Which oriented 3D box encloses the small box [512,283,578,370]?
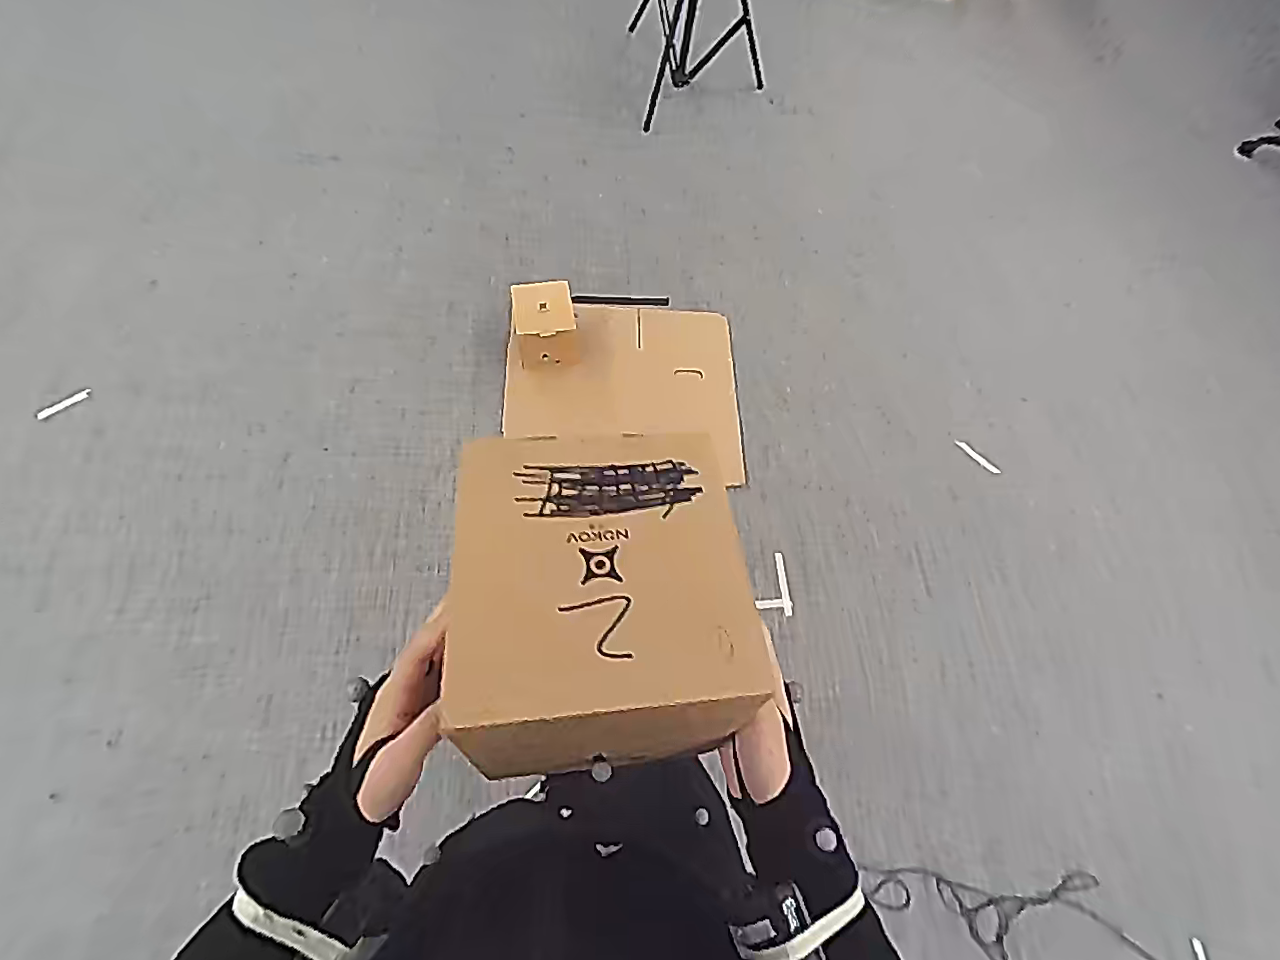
[{"bbox_3d":[-0.276,-0.448,1.583,0.168,0.176,0.179,-9,70,-9],"label":"small box"}]
